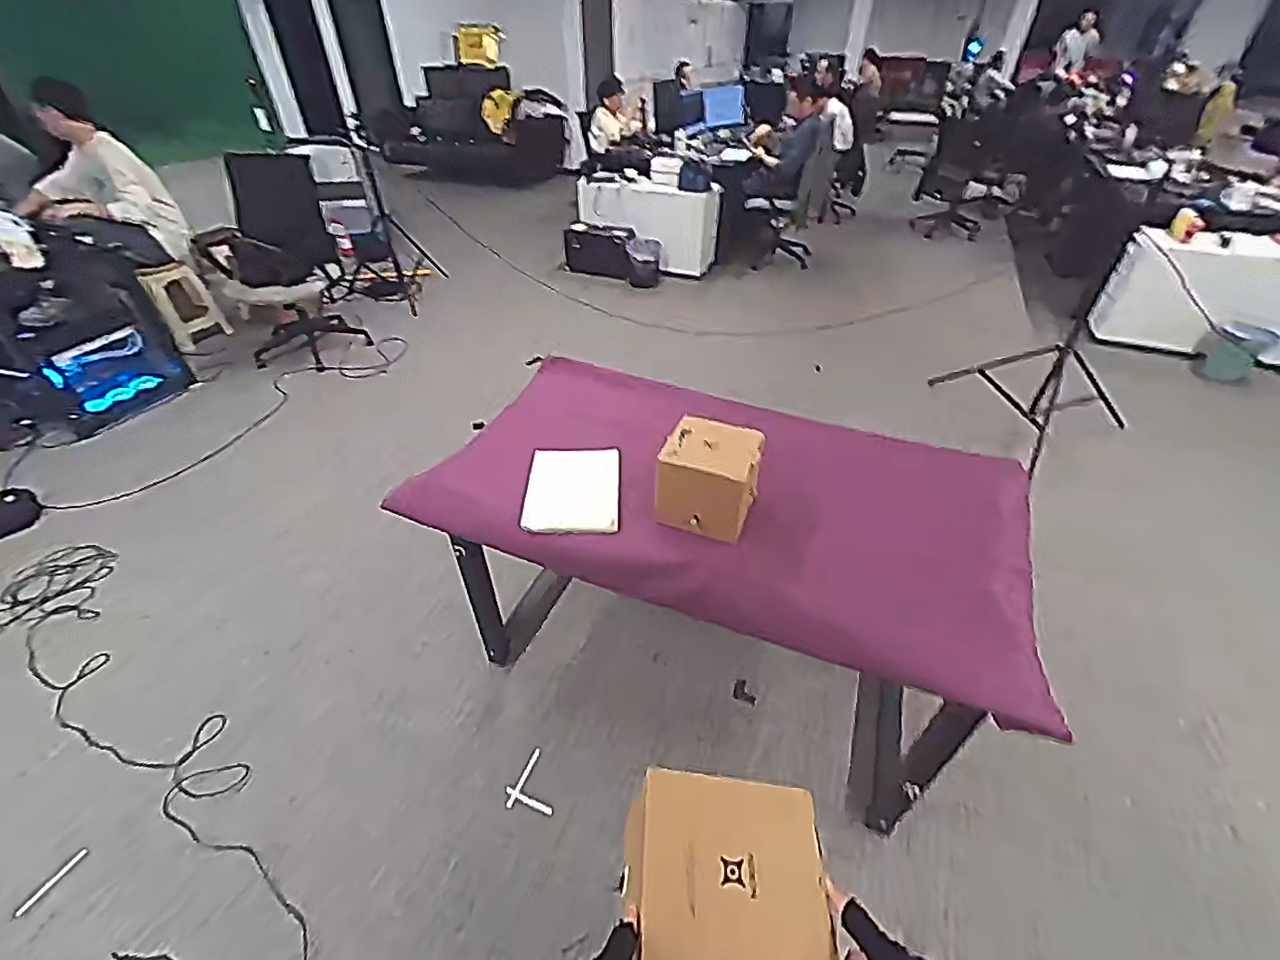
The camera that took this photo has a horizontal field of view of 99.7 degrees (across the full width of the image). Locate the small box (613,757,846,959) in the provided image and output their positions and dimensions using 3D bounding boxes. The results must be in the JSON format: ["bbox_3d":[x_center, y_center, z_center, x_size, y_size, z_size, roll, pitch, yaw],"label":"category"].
[{"bbox_3d":[0.076,0.409,0.543,0.179,0.176,0.168,9,38,-4],"label":"small box"}]

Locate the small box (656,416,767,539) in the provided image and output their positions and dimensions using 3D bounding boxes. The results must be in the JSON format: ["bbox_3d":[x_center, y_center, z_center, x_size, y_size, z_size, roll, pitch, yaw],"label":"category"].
[{"bbox_3d":[0.144,-0.003,1.111,0.179,0.176,0.168,16,42,17],"label":"small box"}]
